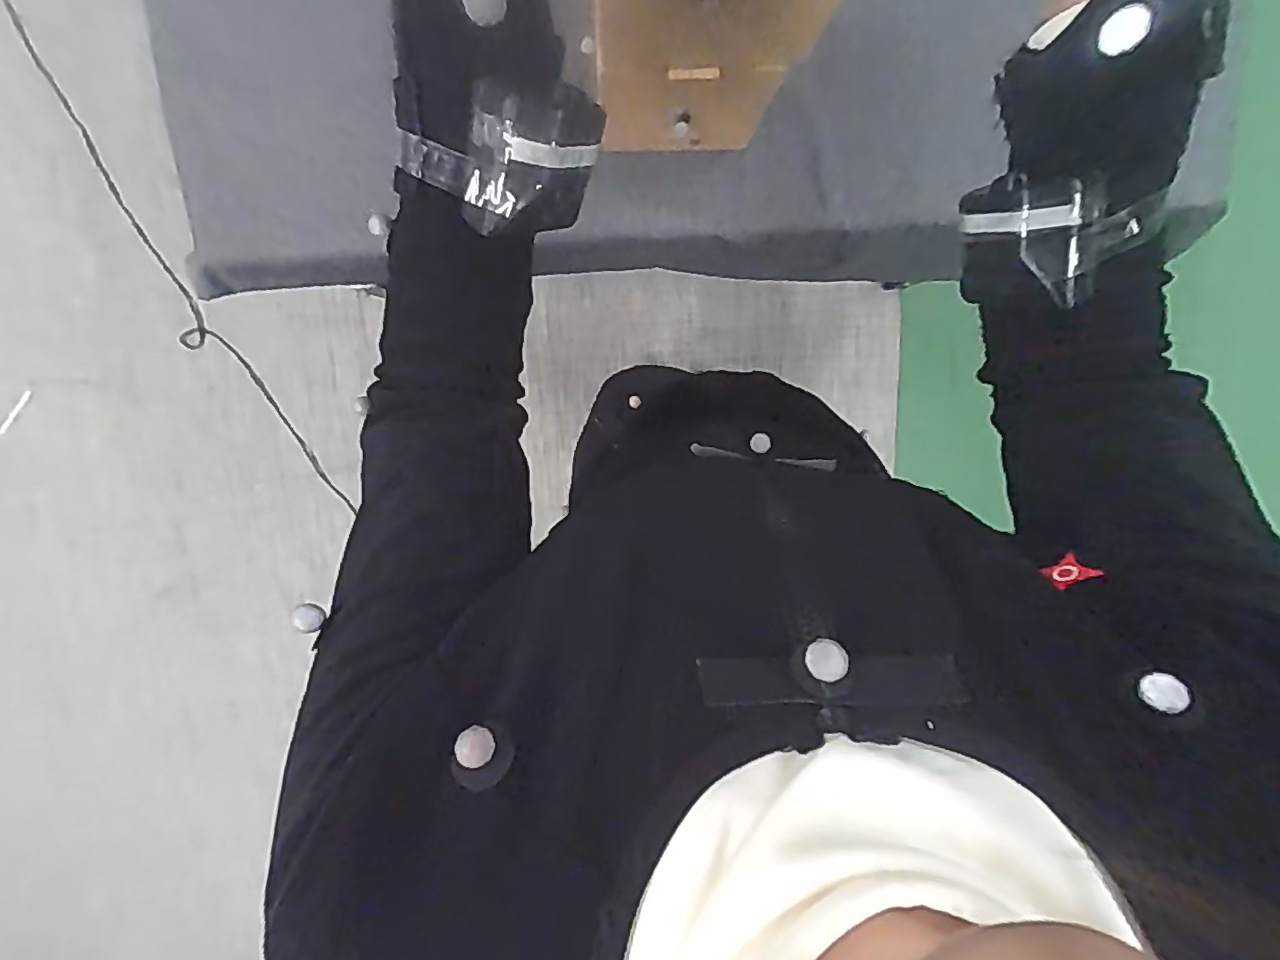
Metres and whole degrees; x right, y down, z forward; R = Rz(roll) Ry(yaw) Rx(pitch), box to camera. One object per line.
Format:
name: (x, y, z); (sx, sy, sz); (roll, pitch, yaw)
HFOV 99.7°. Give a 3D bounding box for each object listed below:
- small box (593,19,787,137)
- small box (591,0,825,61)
small box: (0.041, -0.450, 0.517); (0.168, 0.176, 0.179); (-2, 102, 0)
small box: (0.050, -0.414, 0.356); (0.179, 0.176, 0.168); (-3, 101, 1)
